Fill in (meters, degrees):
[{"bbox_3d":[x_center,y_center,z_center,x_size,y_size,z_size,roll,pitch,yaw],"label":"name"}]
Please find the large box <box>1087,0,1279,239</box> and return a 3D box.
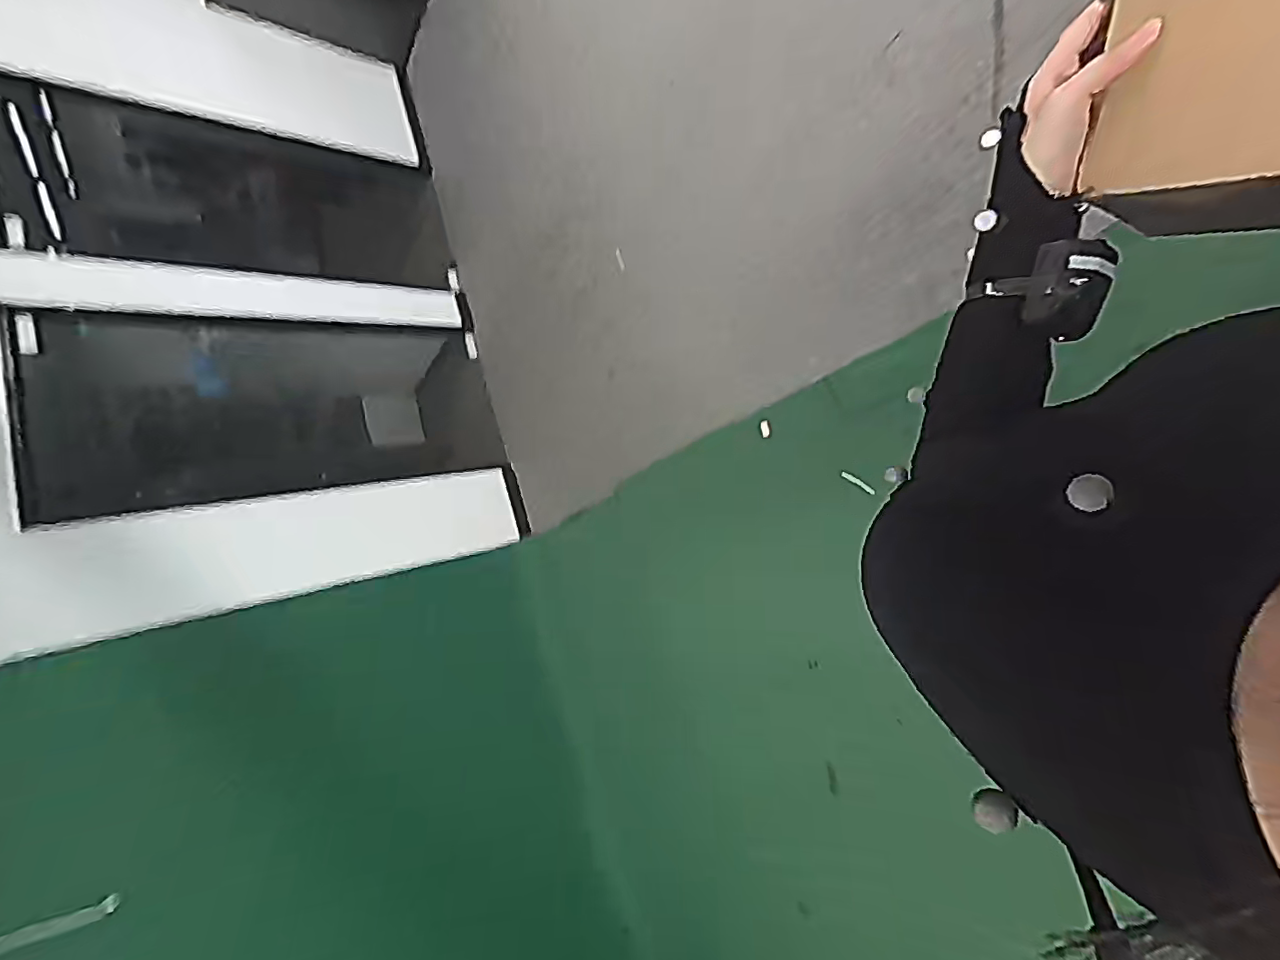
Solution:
[{"bbox_3d":[0.570,-0.347,0.317,0.408,0.320,0.320,17,114,46],"label":"large box"}]
